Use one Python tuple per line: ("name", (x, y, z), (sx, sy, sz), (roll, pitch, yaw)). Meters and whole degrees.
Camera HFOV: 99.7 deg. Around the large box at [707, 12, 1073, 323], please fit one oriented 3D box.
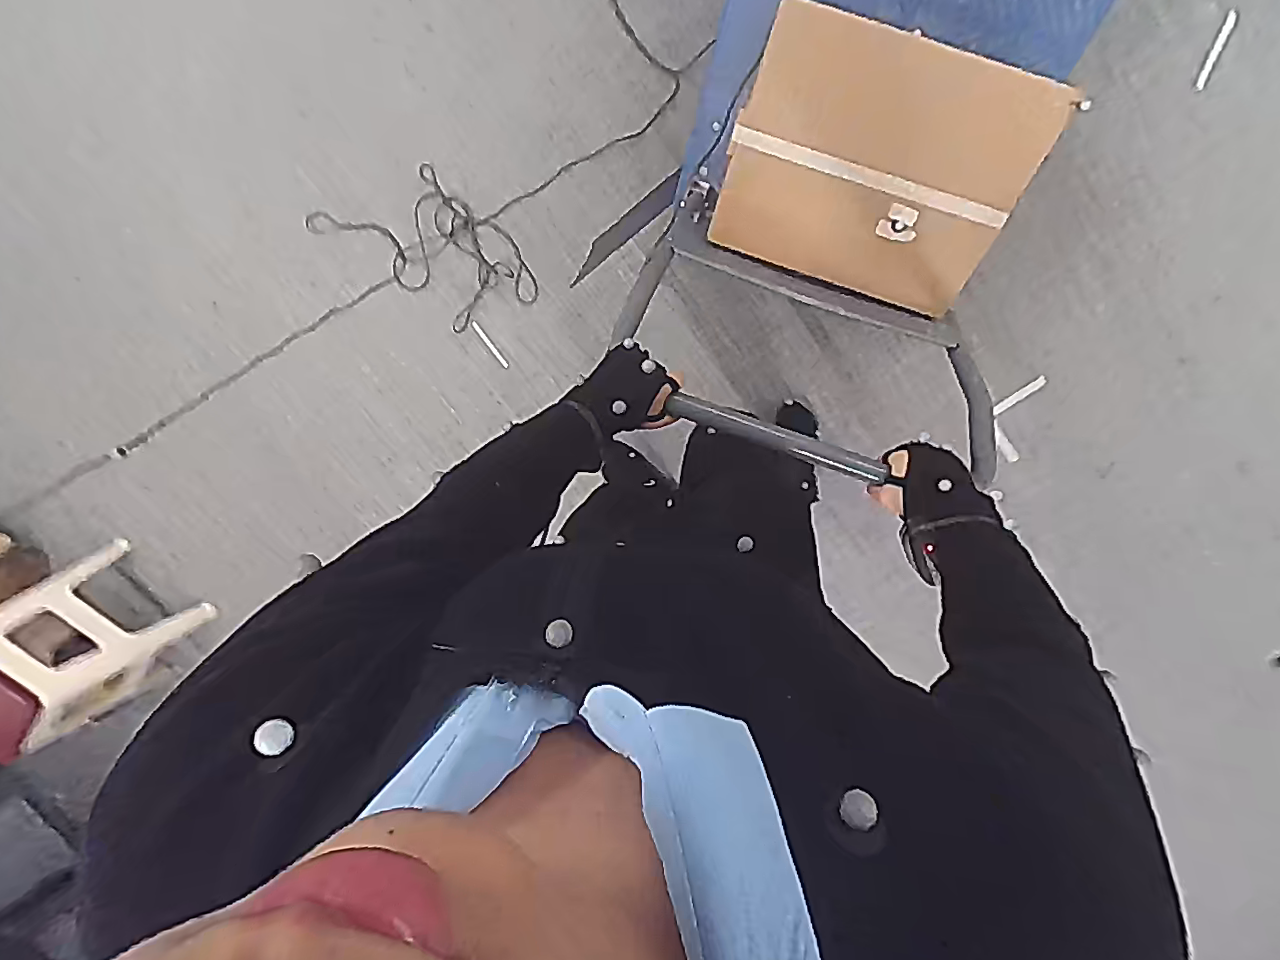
("large box", (0.359, -0.516, 0.900), (0.408, 0.320, 0.320), (19, 130, 0))
